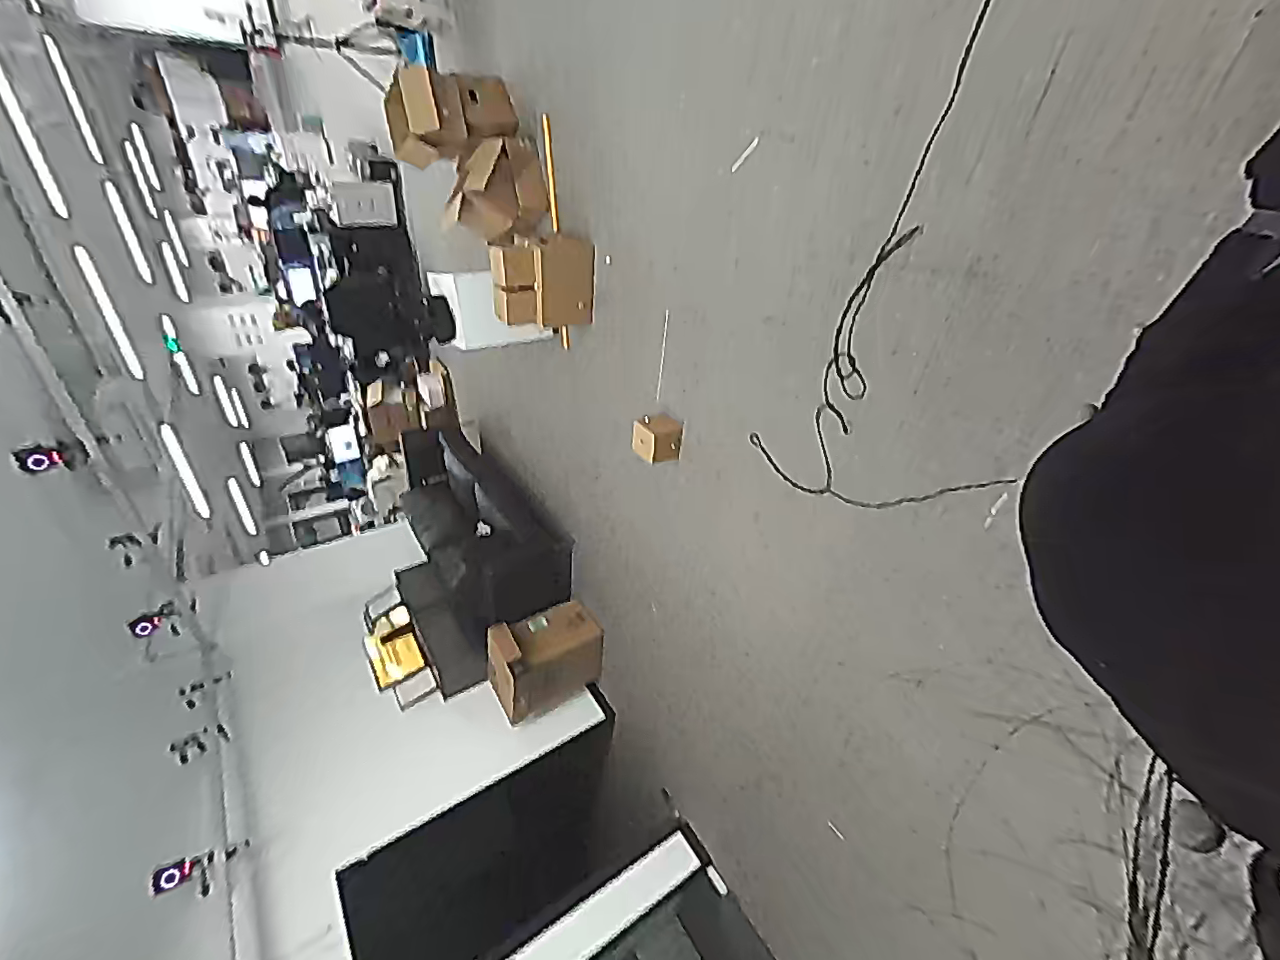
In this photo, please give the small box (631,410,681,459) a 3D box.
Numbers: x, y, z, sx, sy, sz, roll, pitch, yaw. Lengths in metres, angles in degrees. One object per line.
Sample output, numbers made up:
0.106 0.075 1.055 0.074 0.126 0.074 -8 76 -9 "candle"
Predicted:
0.075 -0.226 2.619 0.179 0.176 0.168 41 139 41 "small box"
